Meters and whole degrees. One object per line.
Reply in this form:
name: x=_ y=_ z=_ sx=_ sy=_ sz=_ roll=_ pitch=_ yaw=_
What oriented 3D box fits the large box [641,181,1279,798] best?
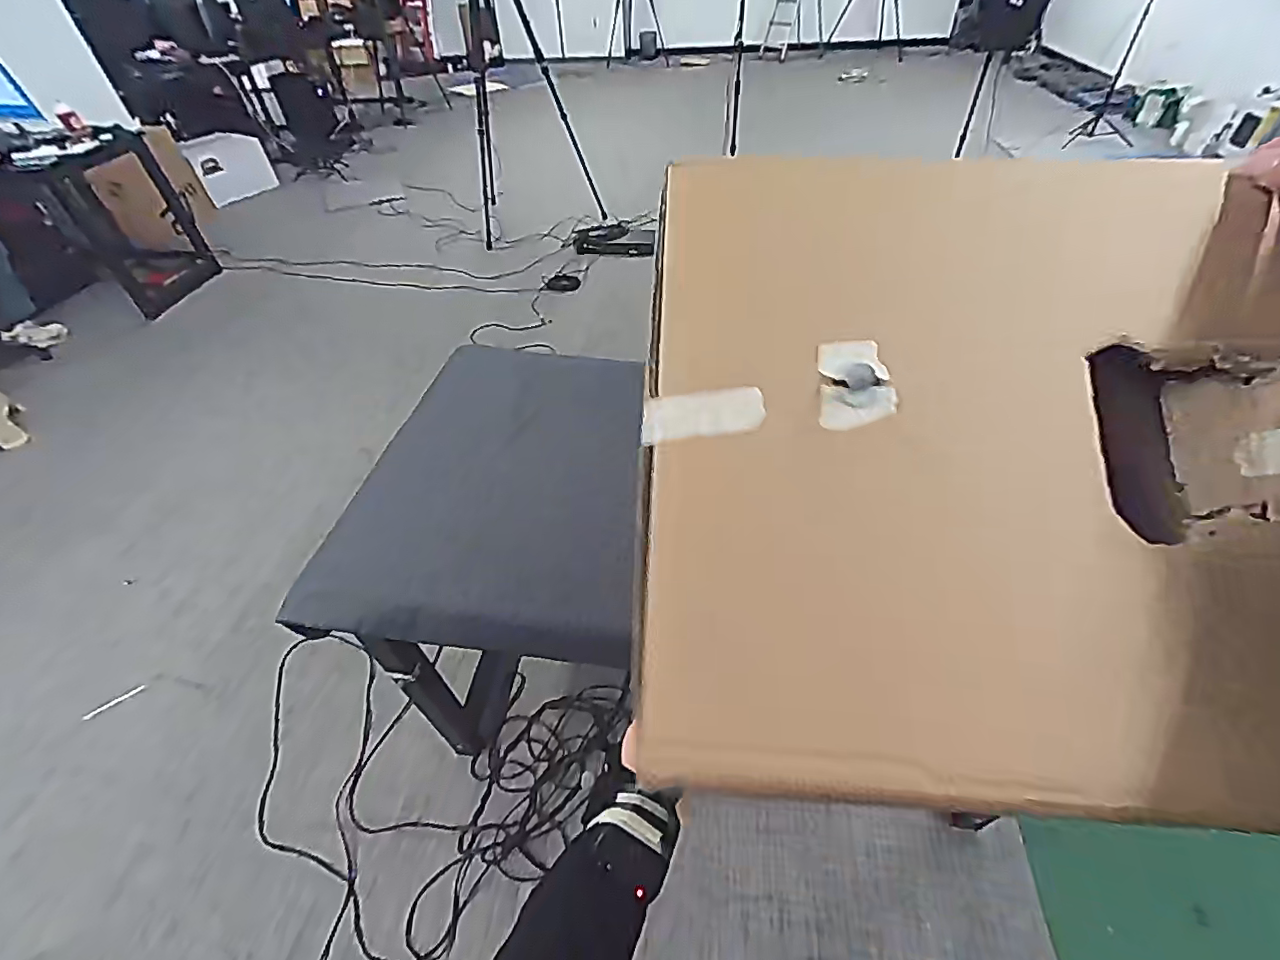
large box: x=0.161 y=0.029 z=0.446 sx=0.320 sy=0.408 sz=0.320 roll=2 pitch=75 yaw=1
